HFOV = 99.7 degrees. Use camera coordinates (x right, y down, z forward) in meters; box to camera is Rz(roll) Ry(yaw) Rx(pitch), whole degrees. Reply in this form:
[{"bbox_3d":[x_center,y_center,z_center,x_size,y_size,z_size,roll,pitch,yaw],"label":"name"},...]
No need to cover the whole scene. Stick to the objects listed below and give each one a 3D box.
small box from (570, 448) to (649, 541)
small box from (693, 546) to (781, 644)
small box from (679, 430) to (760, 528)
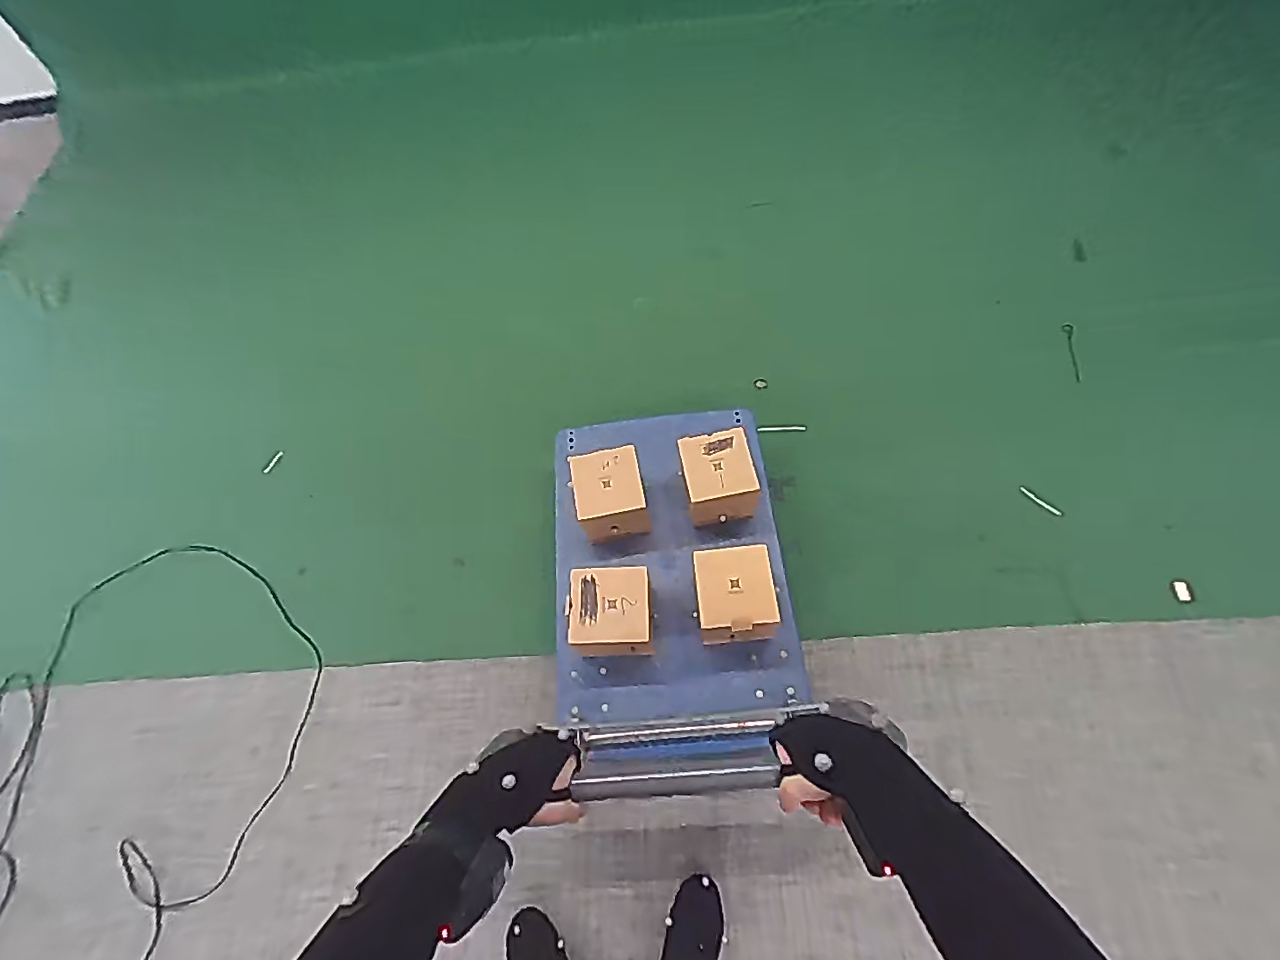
[{"bbox_3d":[-0.072,0.044,1.370,0.168,0.176,0.179,-11,63,0],"label":"small box"},{"bbox_3d":[0.212,0.266,1.233,0.168,0.176,0.179,-6,64,3],"label":"small box"},{"bbox_3d":[0.193,0.001,1.364,0.168,0.176,0.179,-11,64,1],"label":"small box"}]
